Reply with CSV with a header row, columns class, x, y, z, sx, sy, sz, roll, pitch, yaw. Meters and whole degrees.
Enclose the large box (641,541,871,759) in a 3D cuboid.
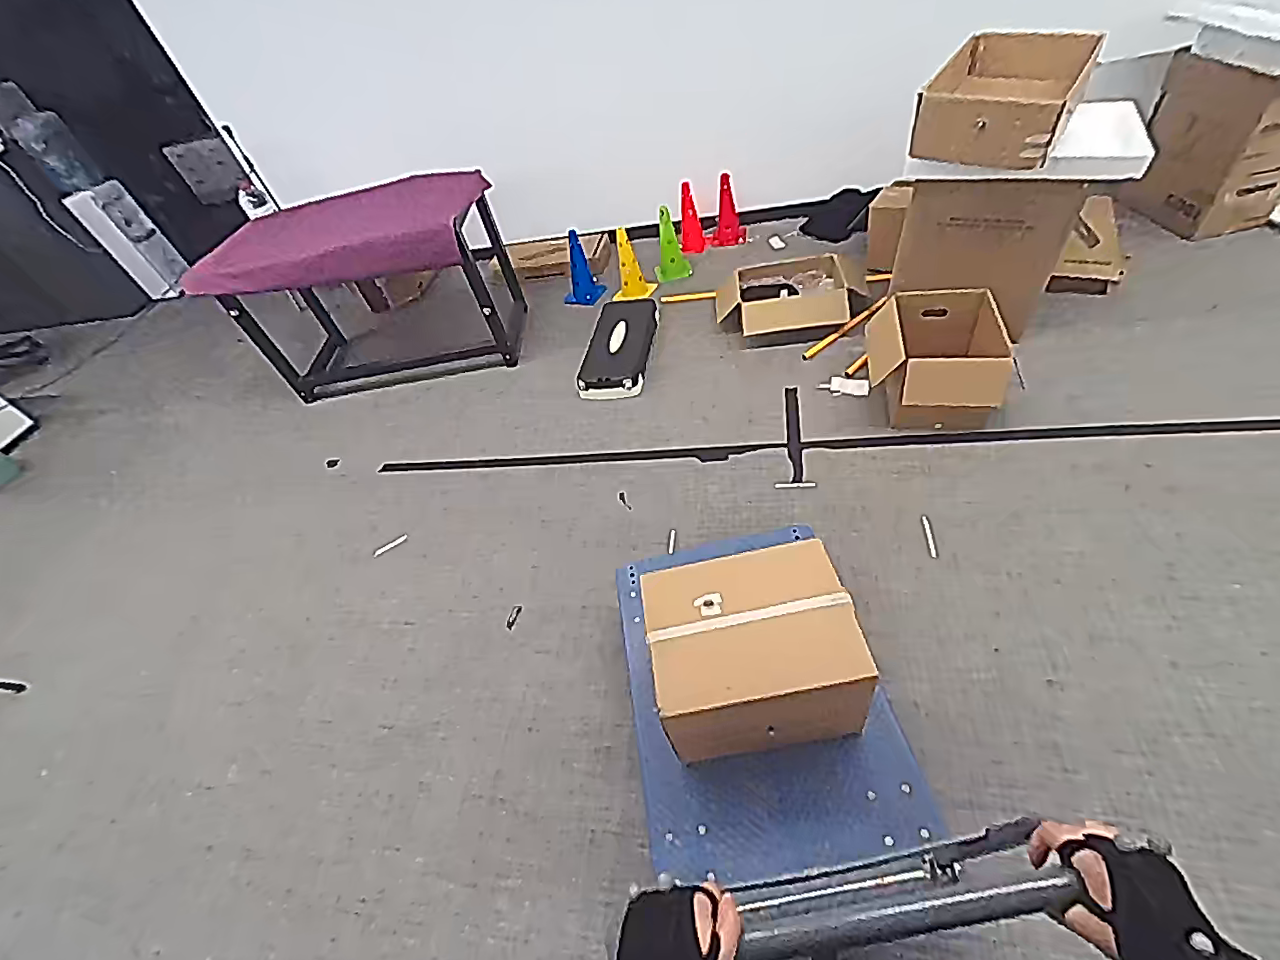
class,x,y,z,sx,sy,sz,roll,pitch,yaw
large box,0.244,0.386,1.207,0.408,0.320,0.320,-13,46,4
